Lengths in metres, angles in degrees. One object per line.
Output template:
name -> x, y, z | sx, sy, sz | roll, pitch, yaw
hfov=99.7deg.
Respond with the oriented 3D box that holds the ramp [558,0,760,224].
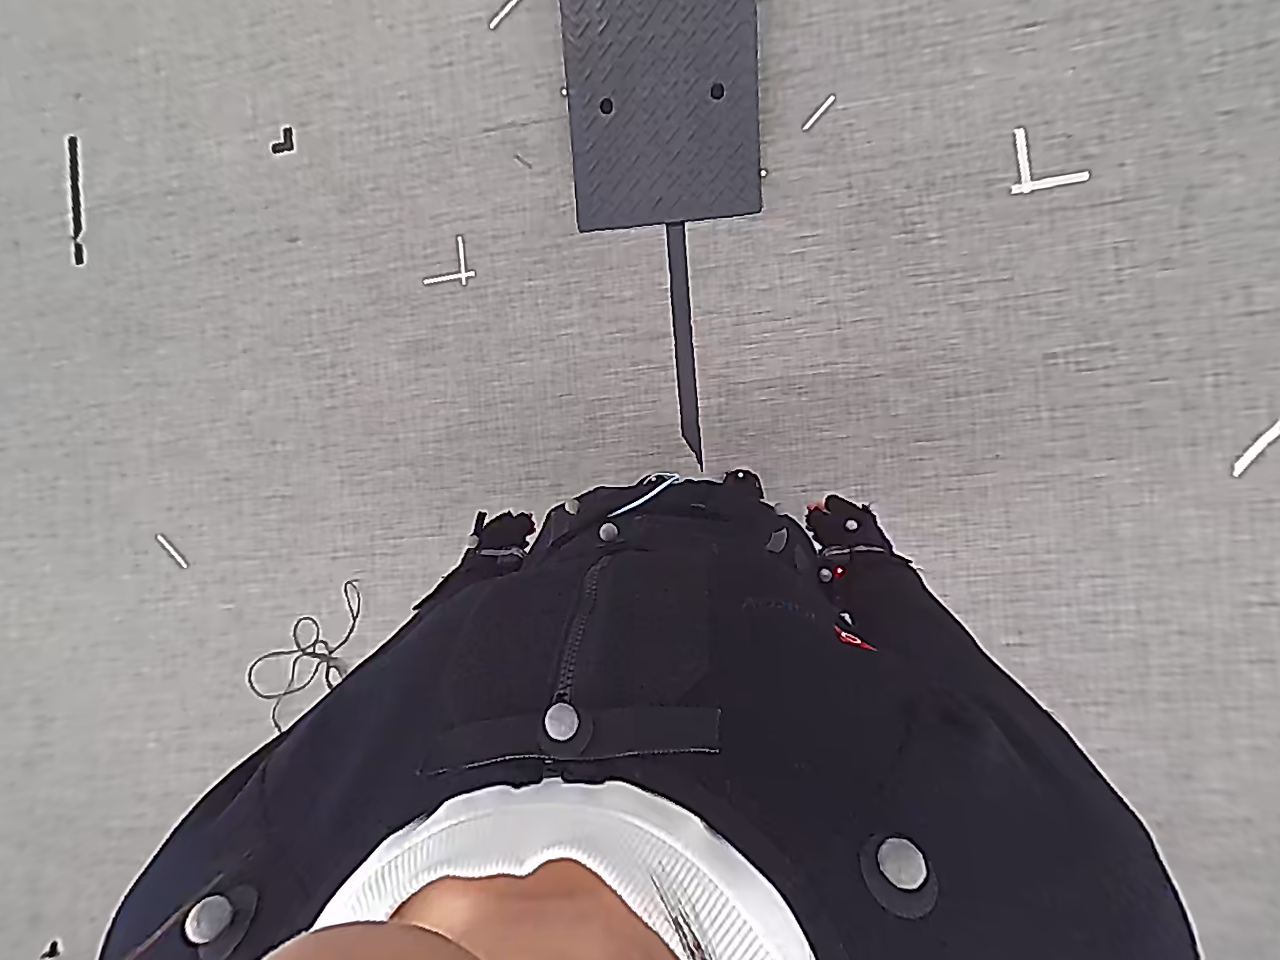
ramp -> 0.038, -1.191, 1.338 | 0.509, 0.206, 0.991 | -4, 91, 7
